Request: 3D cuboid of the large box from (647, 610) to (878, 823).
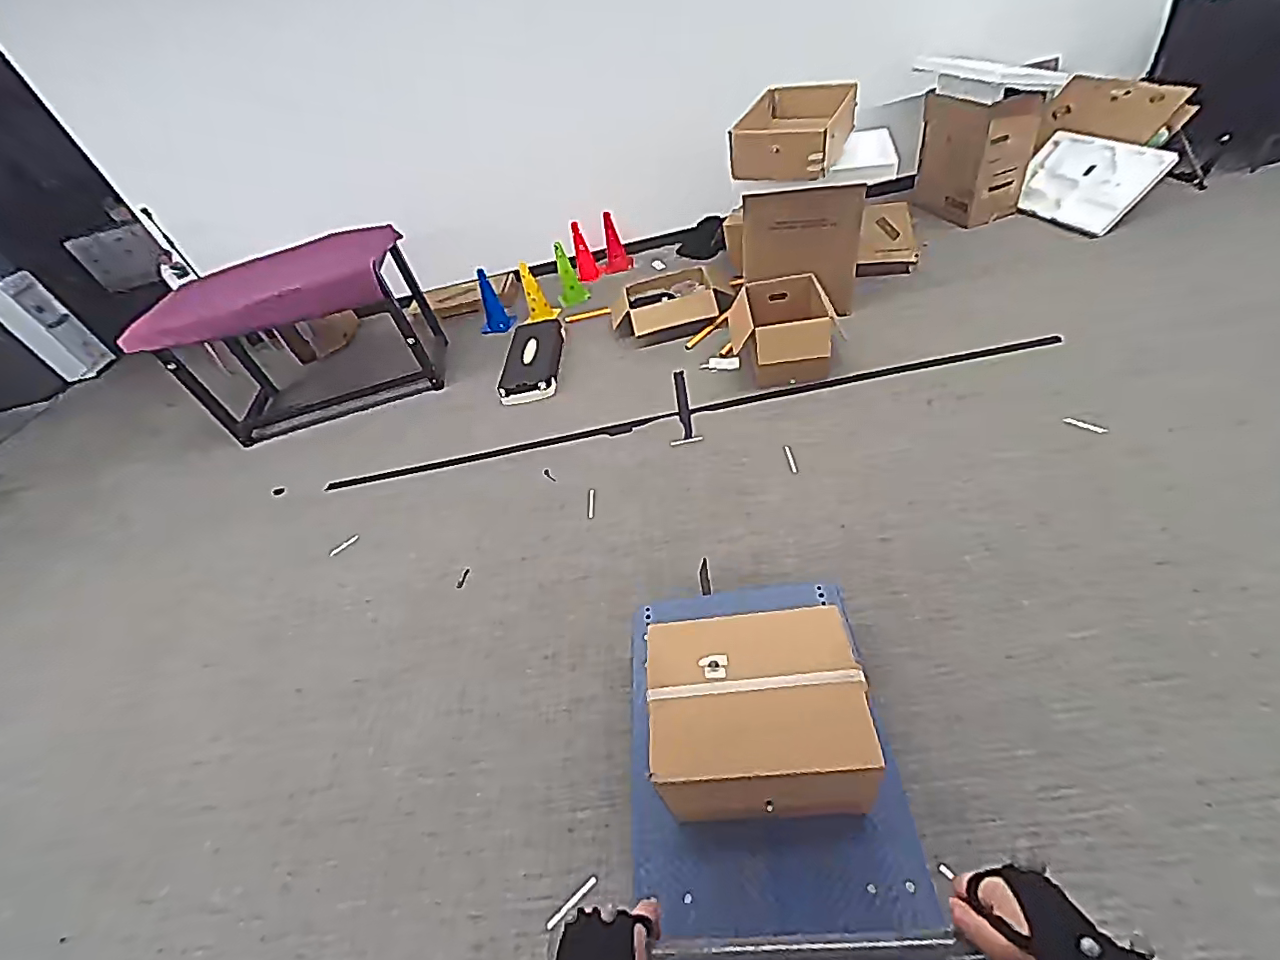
[{"bbox_3d":[0.246,0.514,1.159,0.408,0.320,0.320,-10,44,9],"label":"large box"}]
